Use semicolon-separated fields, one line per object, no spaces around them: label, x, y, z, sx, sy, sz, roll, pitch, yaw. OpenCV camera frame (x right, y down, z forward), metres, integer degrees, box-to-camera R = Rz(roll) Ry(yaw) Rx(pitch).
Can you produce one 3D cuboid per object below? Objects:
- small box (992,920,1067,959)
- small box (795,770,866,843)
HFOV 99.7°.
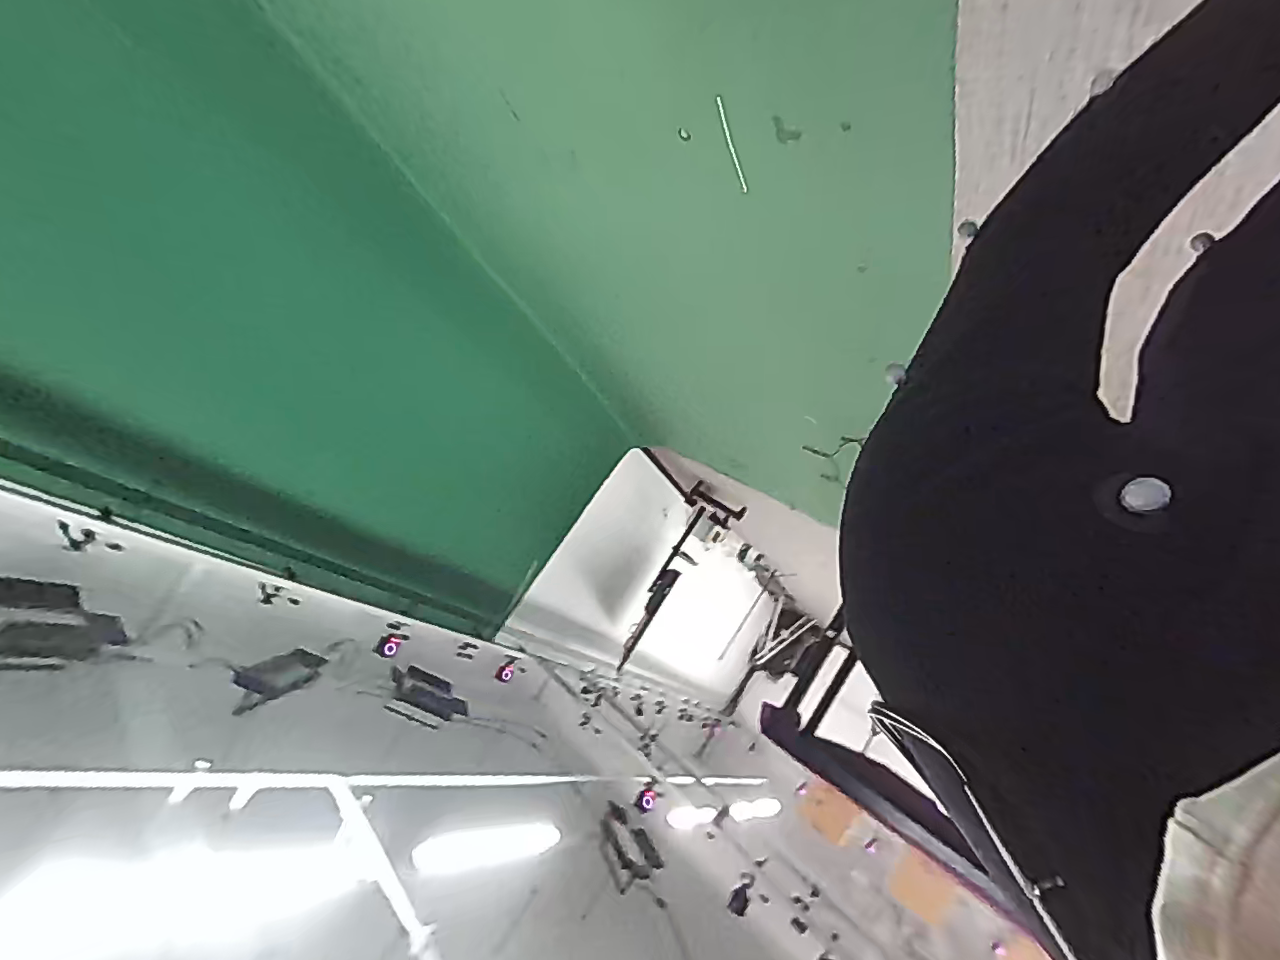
small box;1.149;1.433;1.568;0.179;0.176;0.168;29;171;40
small box;0.701;1.190;1.981;0.168;0.176;0.179;28;171;40
